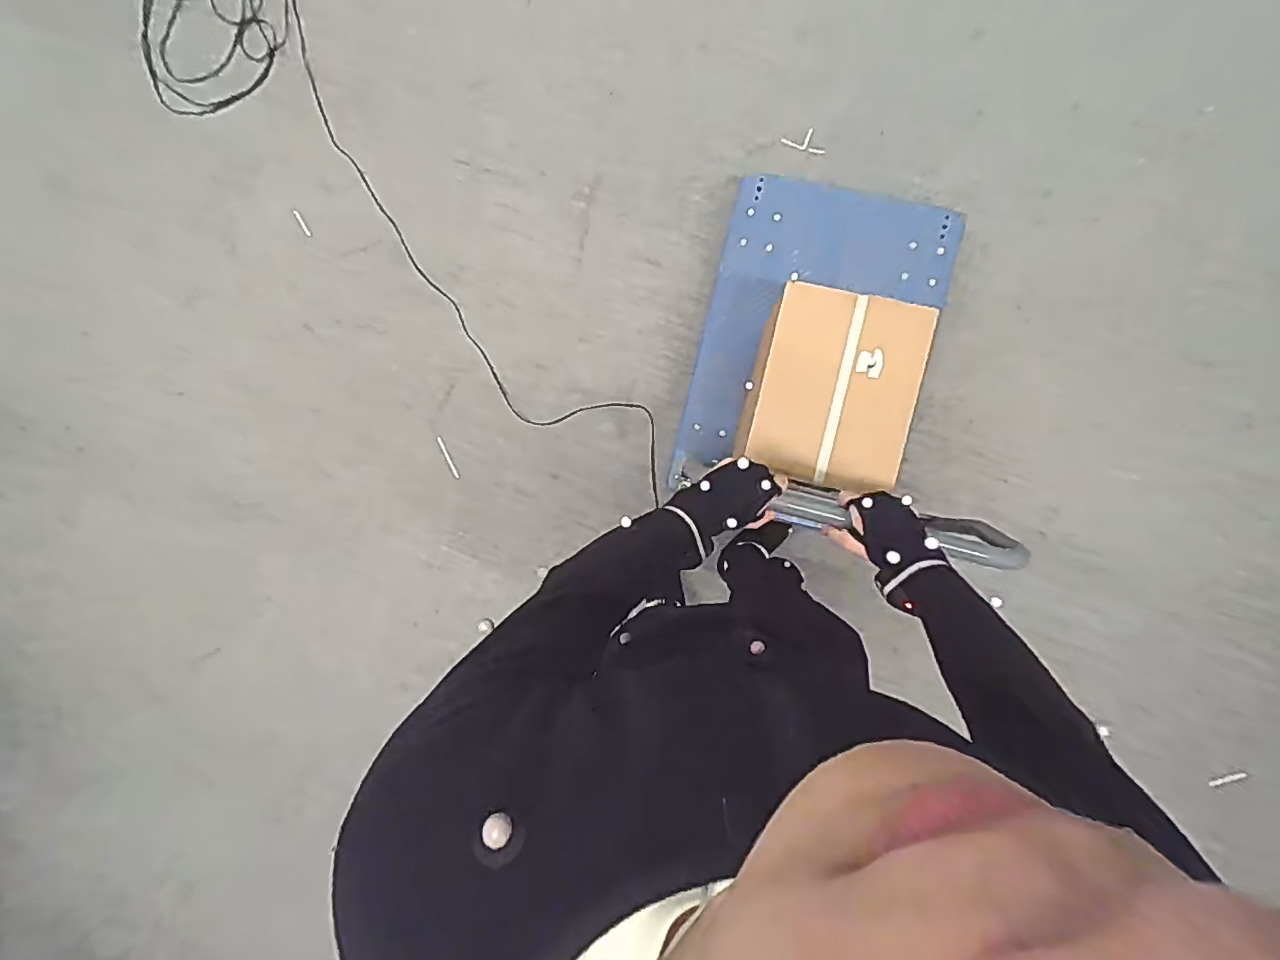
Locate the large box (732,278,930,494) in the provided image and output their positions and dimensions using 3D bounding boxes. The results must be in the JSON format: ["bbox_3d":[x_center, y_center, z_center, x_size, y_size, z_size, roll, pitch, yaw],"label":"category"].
[{"bbox_3d":[0.414,-0.193,1.261,0.320,0.320,0.408,14,91,4],"label":"large box"}]
